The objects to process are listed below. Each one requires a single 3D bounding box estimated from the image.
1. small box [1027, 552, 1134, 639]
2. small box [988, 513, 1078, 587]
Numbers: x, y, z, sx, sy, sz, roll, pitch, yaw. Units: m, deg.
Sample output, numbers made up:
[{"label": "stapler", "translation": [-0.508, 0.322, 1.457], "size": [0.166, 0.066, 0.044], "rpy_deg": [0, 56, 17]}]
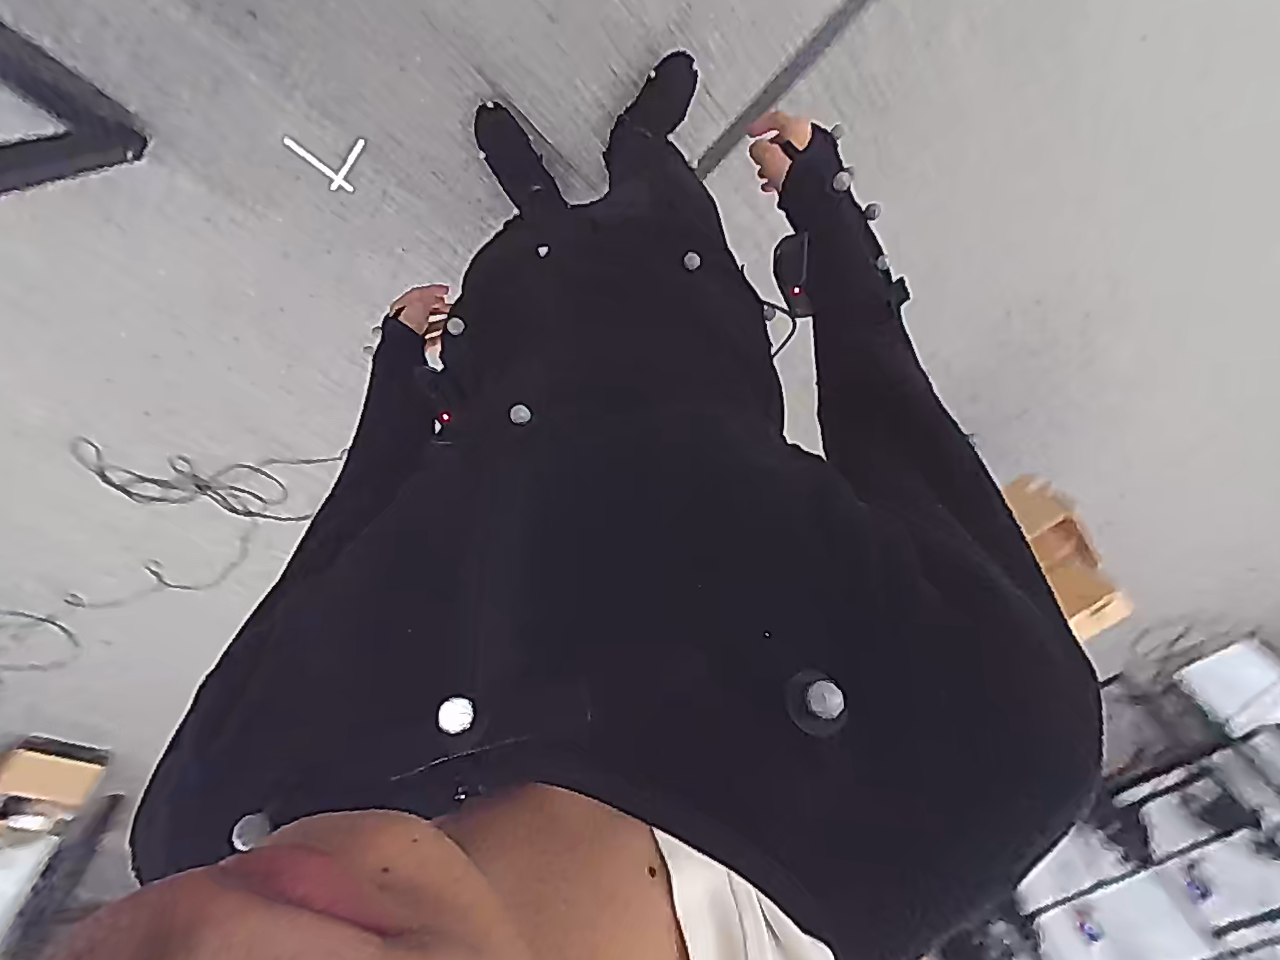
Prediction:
[{"label": "small box", "translation": [1.316, 0.342, 1.626], "size": [0.179, 0.176, 0.168], "rpy_deg": [34, 113, -32]}, {"label": "small box", "translation": [1.279, 0.236, 1.747], "size": [0.179, 0.176, 0.168], "rpy_deg": [34, 113, -31]}]
